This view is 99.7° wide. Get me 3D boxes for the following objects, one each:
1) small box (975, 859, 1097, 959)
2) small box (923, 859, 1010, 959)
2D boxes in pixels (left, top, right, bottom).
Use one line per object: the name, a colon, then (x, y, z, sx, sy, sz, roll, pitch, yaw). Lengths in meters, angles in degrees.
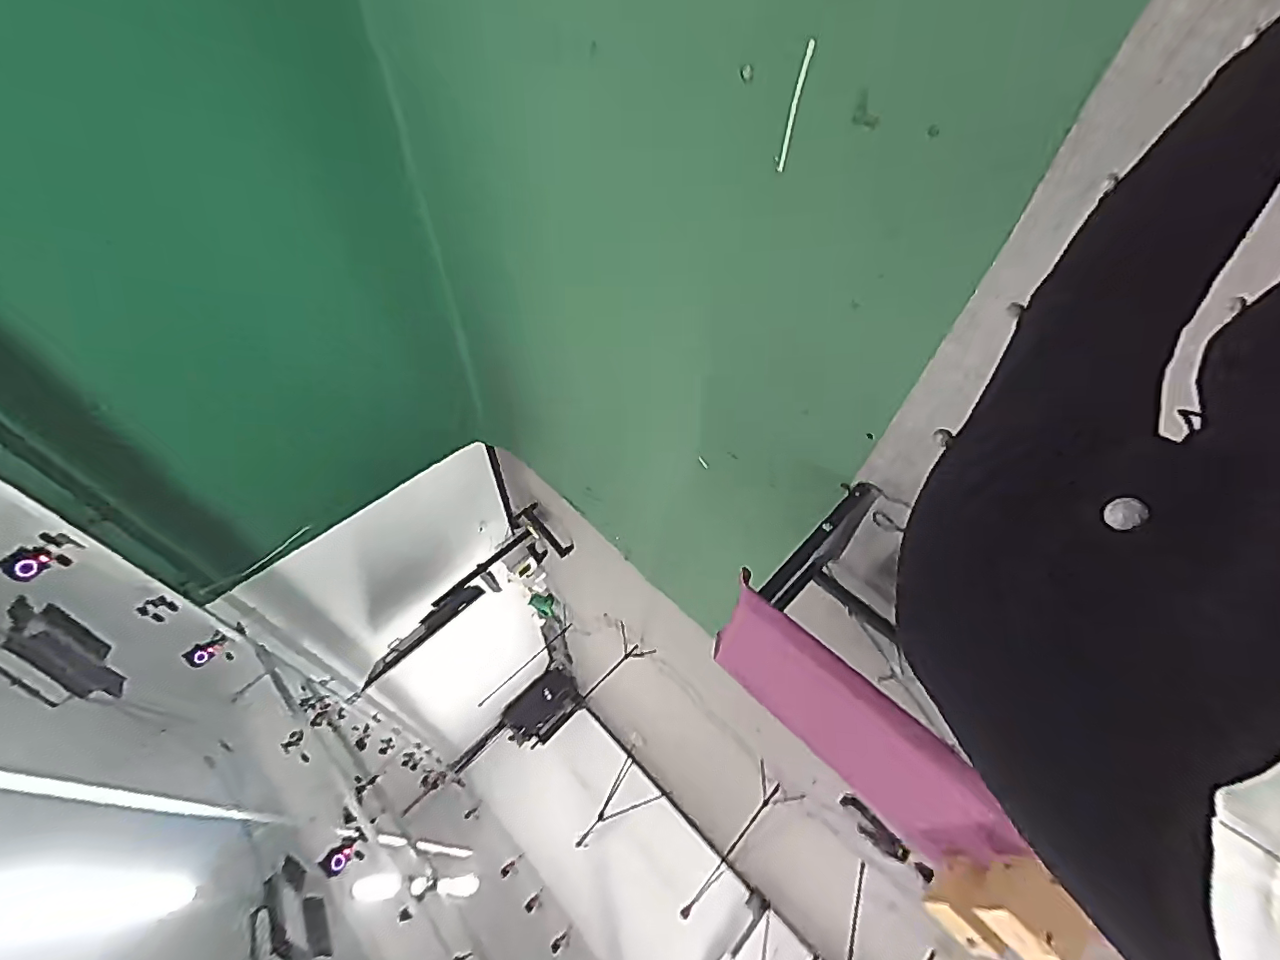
small box: (1.014, 1.110, 1.385, 0.168, 0.176, 0.179, 38, 152, 25)
small box: (1.003, 1.282, 1.620, 0.179, 0.176, 0.168, 40, 151, 24)
